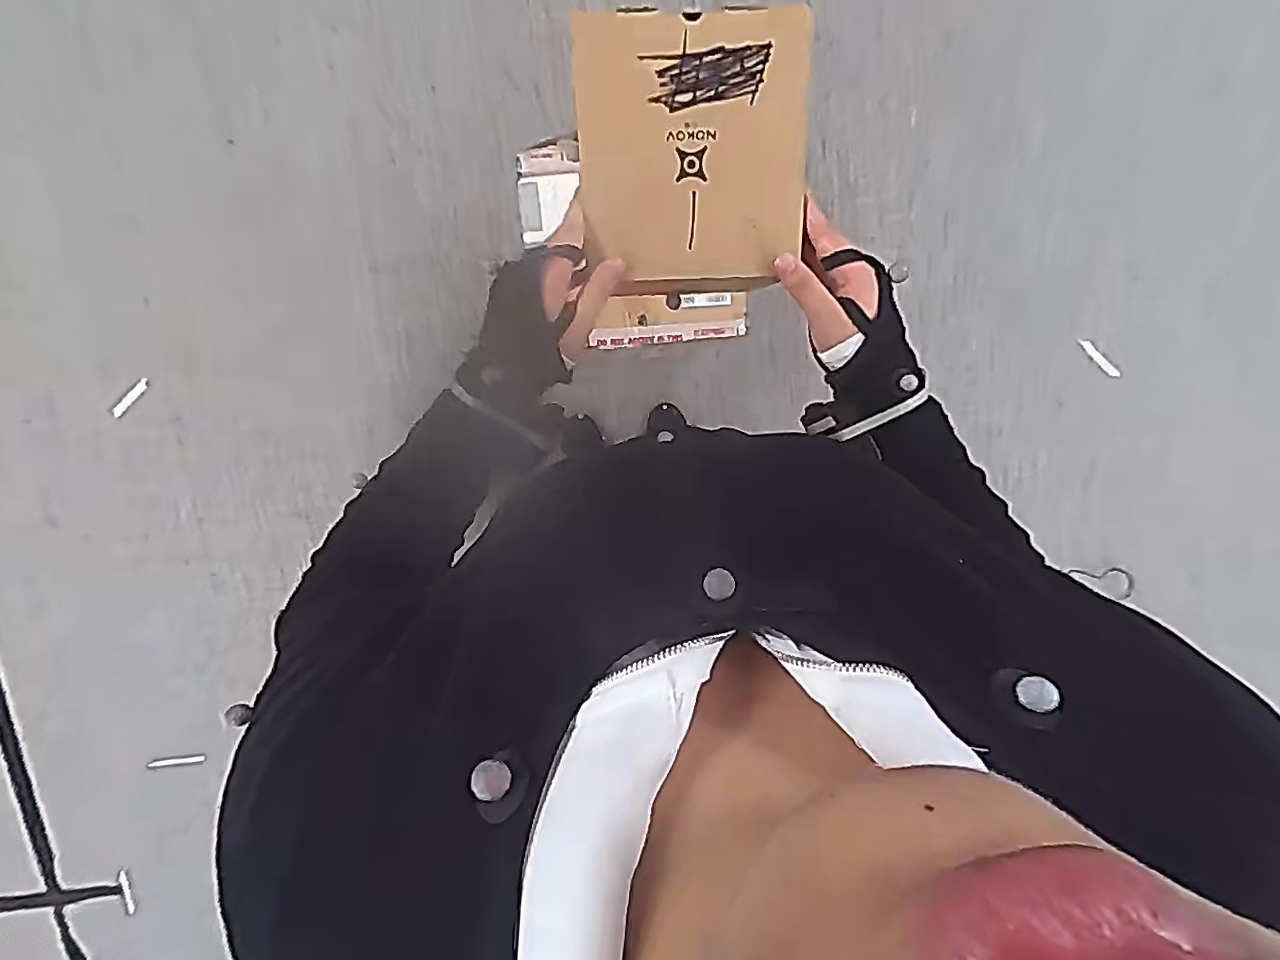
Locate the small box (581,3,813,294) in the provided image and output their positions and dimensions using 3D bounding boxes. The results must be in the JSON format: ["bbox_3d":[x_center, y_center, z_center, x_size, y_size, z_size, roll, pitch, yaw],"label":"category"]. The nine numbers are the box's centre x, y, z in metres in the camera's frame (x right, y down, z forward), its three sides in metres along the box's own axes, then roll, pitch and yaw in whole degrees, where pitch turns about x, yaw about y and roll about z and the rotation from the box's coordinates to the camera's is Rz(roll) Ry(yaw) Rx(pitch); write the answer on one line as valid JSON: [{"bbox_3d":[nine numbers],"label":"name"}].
[{"bbox_3d":[0.039,-0.262,0.469,0.168,0.176,0.179,-2,105,0],"label":"small box"}]
